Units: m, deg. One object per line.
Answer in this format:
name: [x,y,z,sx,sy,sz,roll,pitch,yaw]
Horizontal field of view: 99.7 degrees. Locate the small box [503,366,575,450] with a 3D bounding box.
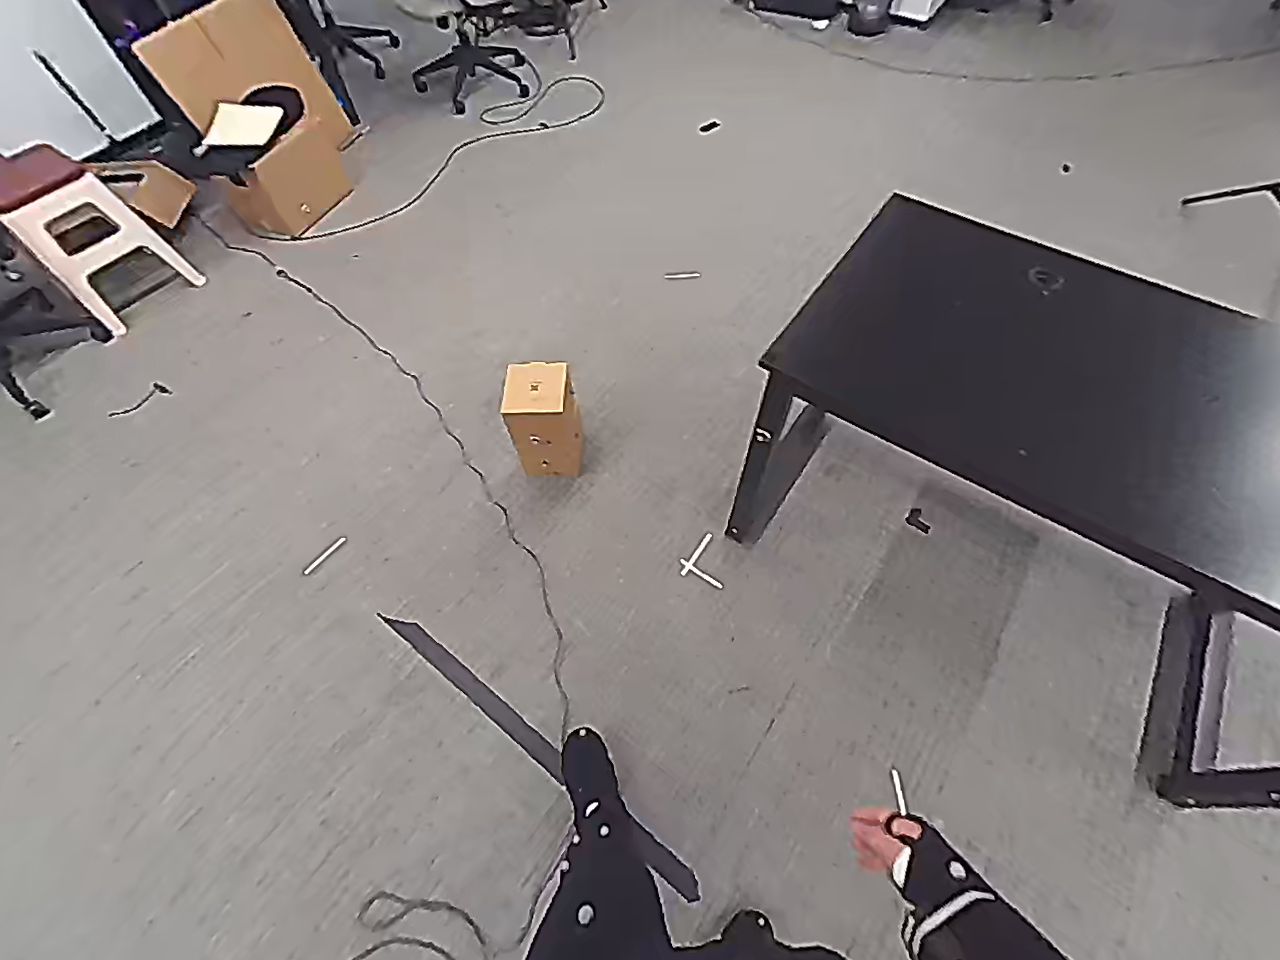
small box: [-0.279,-0.202,1.532,0.168,0.176,0.179,-2,60,2]

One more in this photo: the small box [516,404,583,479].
small box: [-0.272,-0.119,1.673,0.168,0.176,0.179,4,59,2]
